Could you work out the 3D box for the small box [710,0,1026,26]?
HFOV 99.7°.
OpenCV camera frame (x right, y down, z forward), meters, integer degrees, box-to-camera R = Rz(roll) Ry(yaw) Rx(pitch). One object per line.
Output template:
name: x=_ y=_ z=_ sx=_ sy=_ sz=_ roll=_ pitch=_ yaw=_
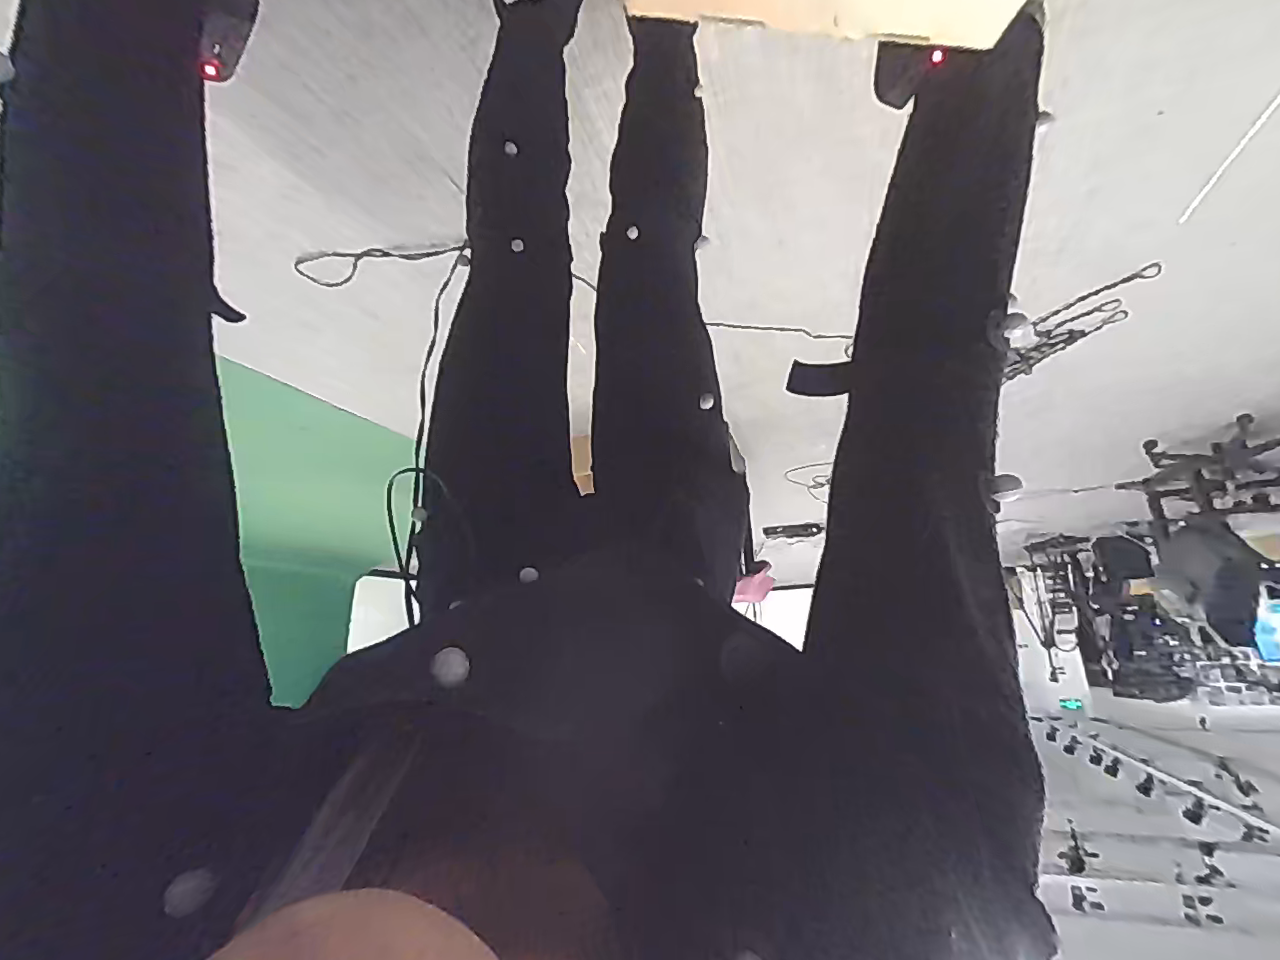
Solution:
small box: x=0.084 y=-0.298 z=0.166 sx=0.168 sy=0.176 sz=0.179 roll=-1 pitch=164 yaw=-7
